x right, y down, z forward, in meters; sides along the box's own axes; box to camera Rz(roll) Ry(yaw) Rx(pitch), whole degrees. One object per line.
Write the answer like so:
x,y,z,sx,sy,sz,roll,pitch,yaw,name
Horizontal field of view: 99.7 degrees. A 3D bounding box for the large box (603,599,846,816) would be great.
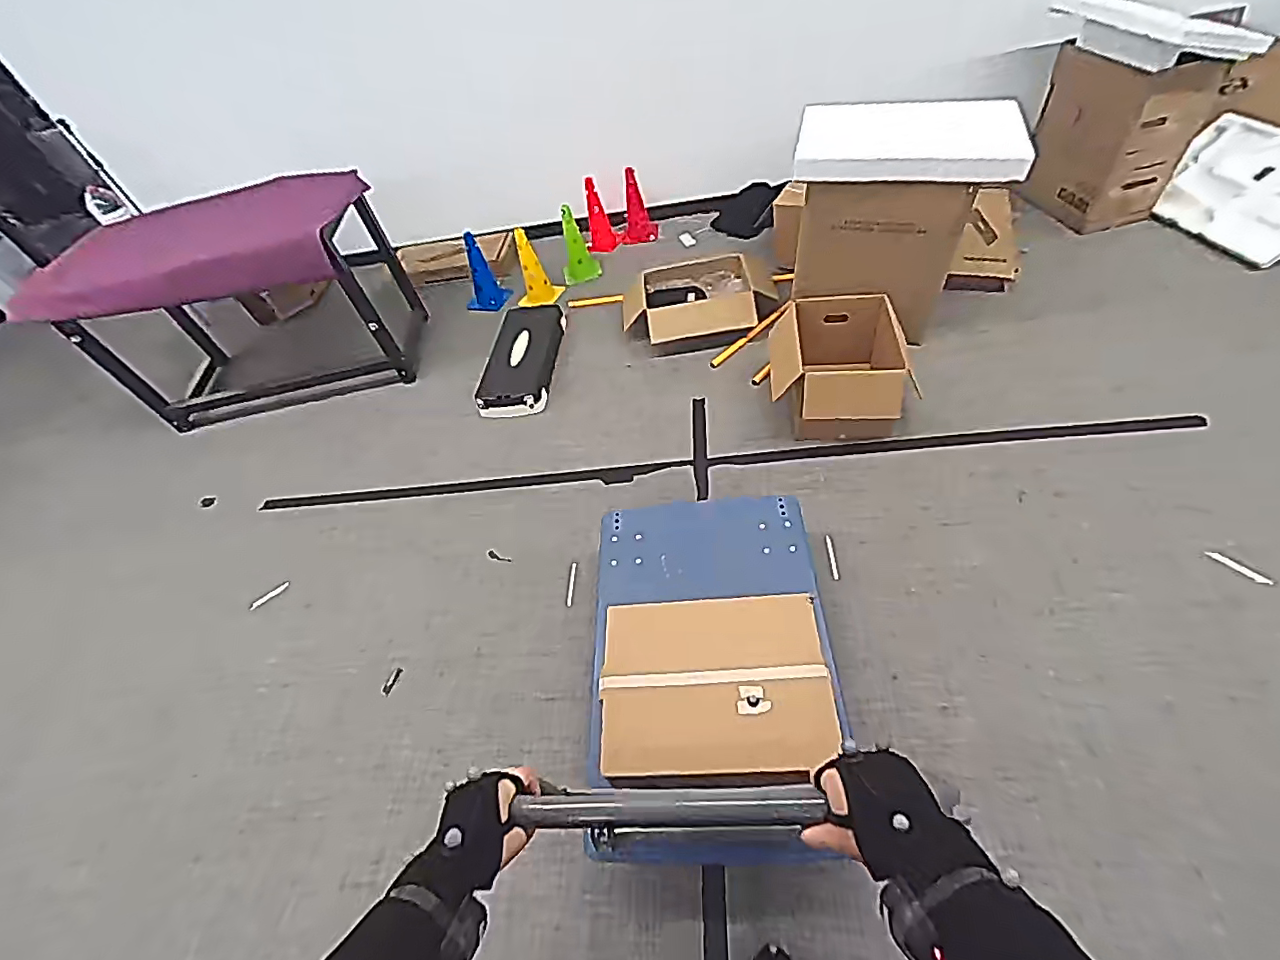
0.150,0.463,1.084,0.408,0.320,0.320,-5,50,6,large box
